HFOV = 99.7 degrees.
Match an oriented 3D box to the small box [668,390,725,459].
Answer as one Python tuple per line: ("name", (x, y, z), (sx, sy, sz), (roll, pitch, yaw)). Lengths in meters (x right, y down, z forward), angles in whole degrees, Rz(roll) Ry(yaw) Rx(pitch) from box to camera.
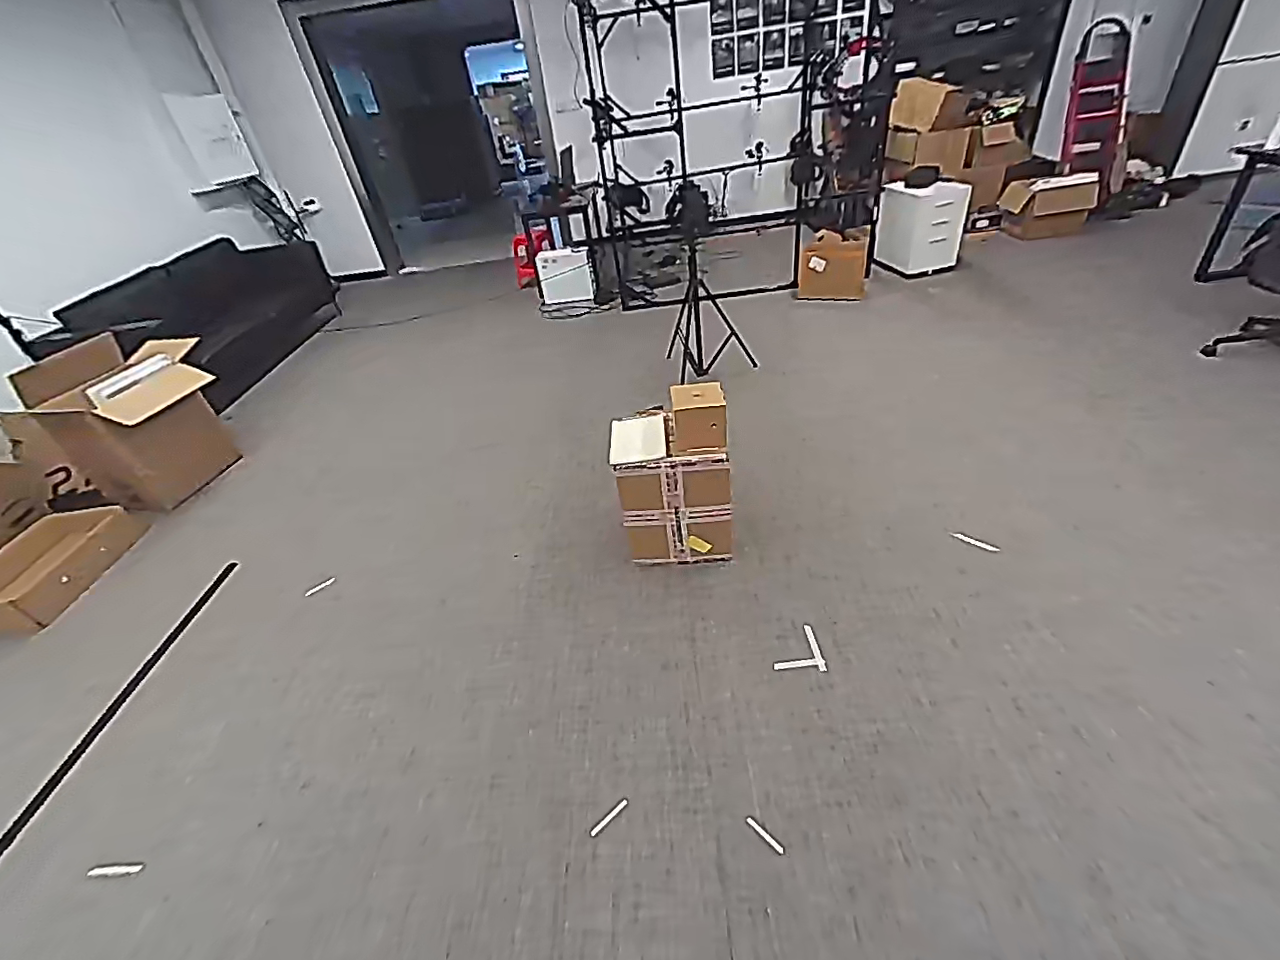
("small box", (0.194, -0.190, 1.855), (0.179, 0.176, 0.168), (-6, 38, 2))
